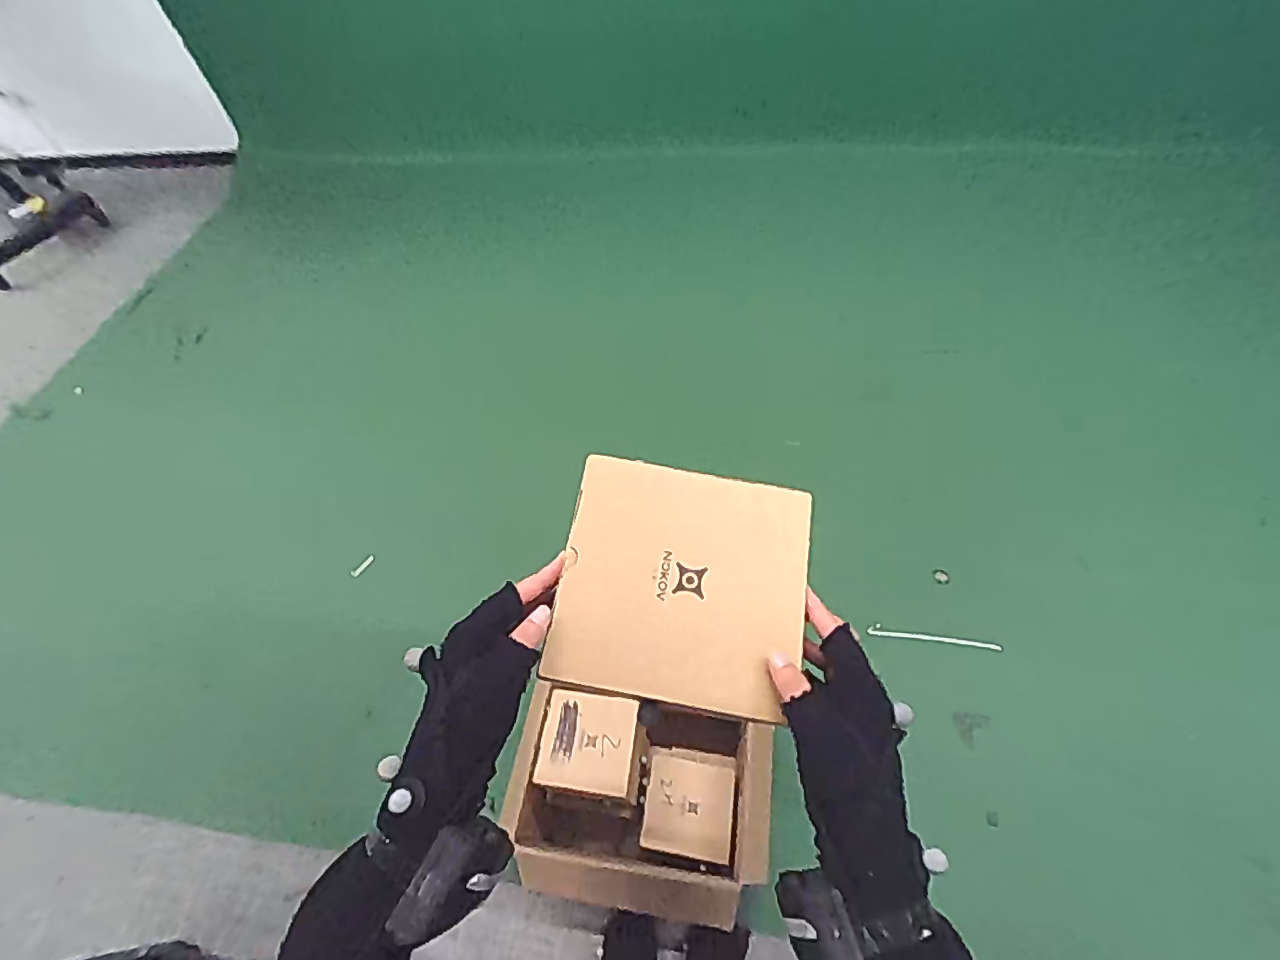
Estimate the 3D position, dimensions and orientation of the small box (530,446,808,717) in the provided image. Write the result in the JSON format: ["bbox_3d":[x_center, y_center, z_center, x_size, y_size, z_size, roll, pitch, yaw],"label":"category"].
[{"bbox_3d":[0.025,0.091,0.449,0.179,0.176,0.168,8,68,3],"label":"small box"}]
